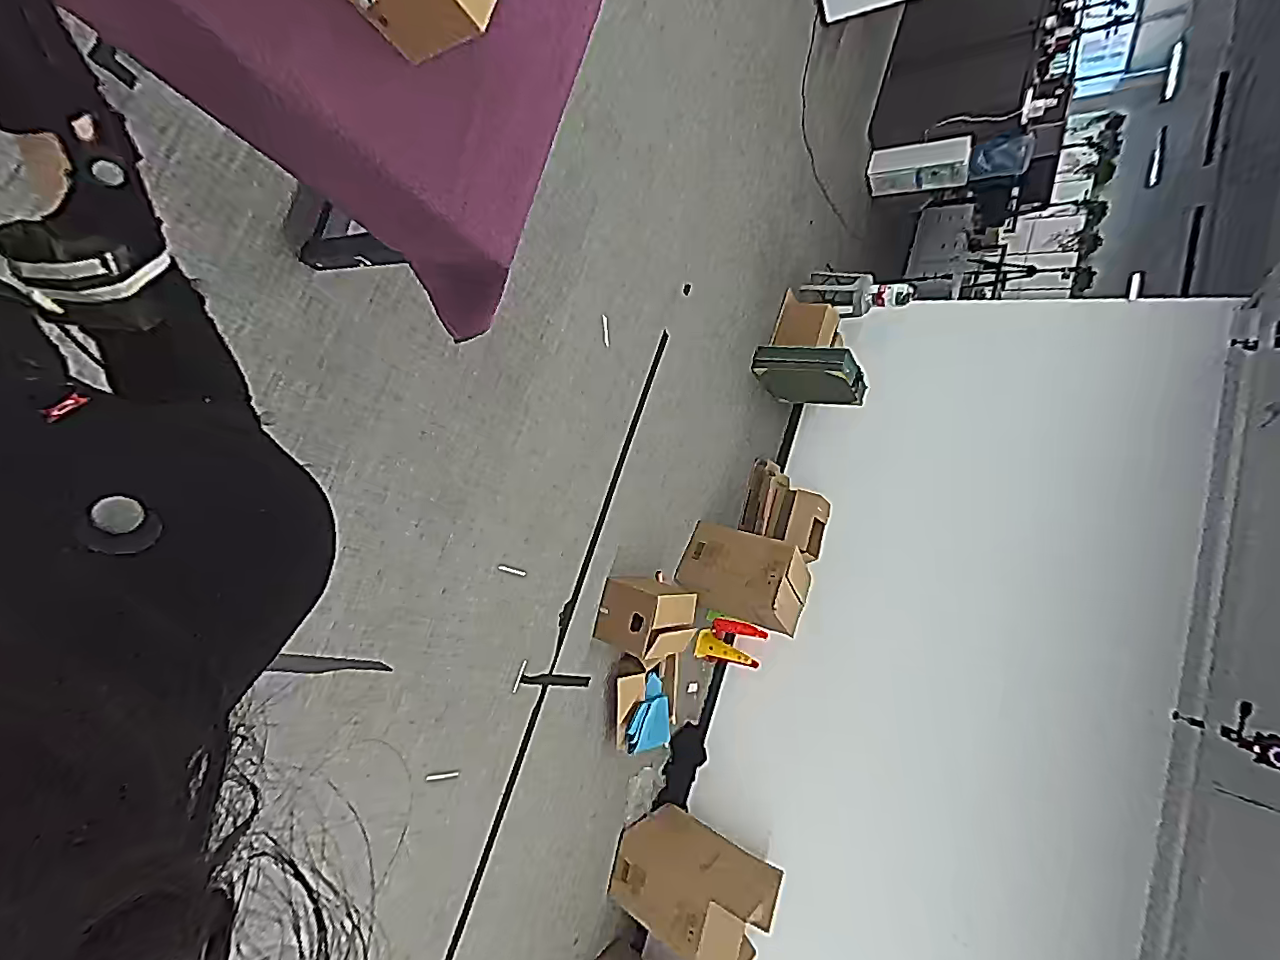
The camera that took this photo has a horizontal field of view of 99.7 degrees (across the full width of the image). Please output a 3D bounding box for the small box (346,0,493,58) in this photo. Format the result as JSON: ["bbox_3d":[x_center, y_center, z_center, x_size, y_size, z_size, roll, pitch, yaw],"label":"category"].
[{"bbox_3d":[-0.287,-0.691,0.681,0.168,0.176,0.179,26,79,-55],"label":"small box"}]
